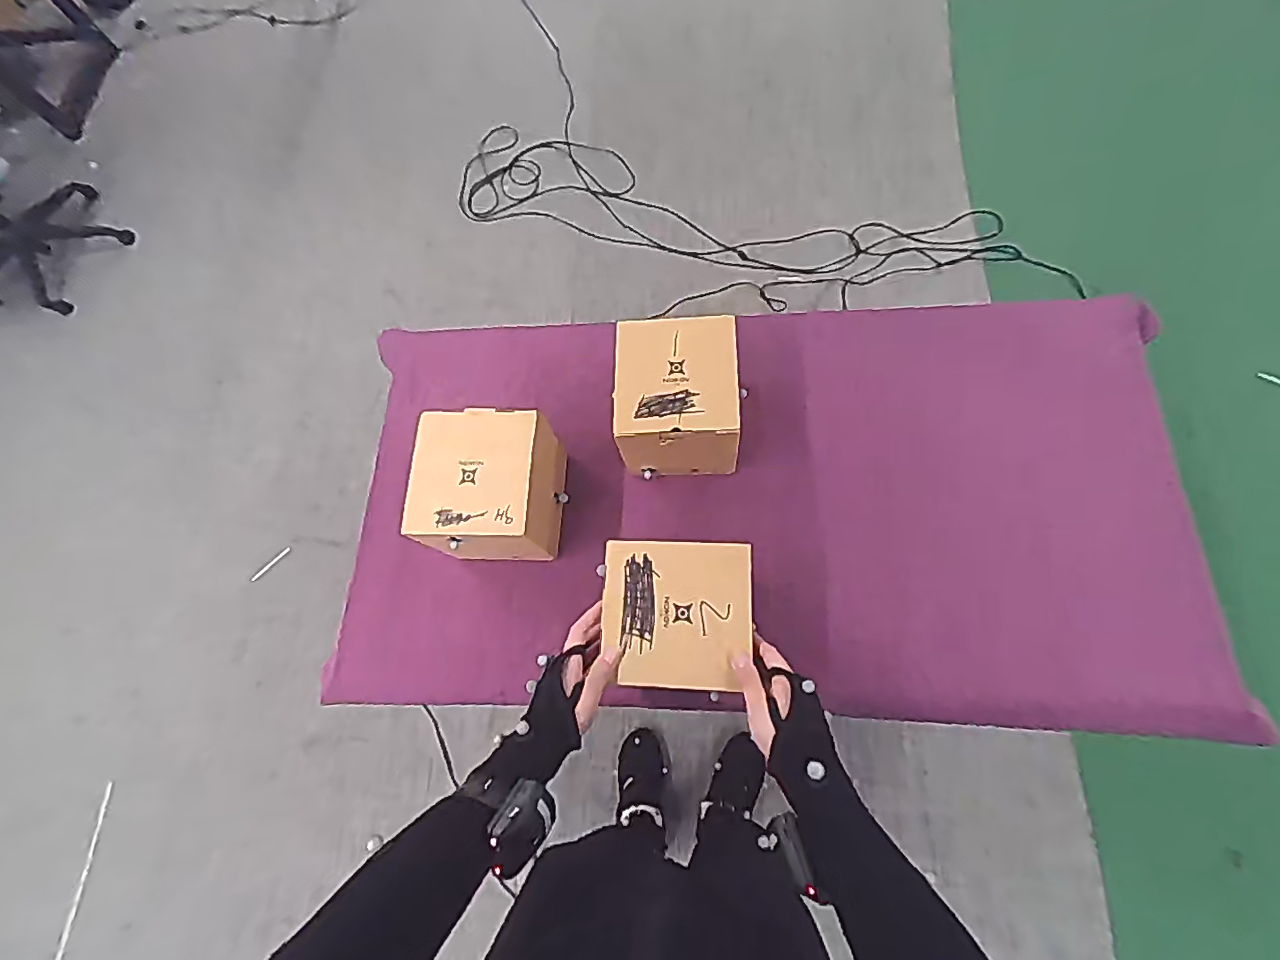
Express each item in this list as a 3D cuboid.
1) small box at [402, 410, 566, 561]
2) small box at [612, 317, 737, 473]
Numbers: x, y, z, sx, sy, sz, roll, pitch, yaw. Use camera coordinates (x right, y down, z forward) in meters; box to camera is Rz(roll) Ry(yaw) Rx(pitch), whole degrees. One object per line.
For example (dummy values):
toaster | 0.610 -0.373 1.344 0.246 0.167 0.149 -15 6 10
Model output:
small box | -0.211 0.013 0.785 0.168 0.176 0.179 0 71 8
small box | 0.056 -0.114 0.799 0.168 0.176 0.179 -1 70 6
